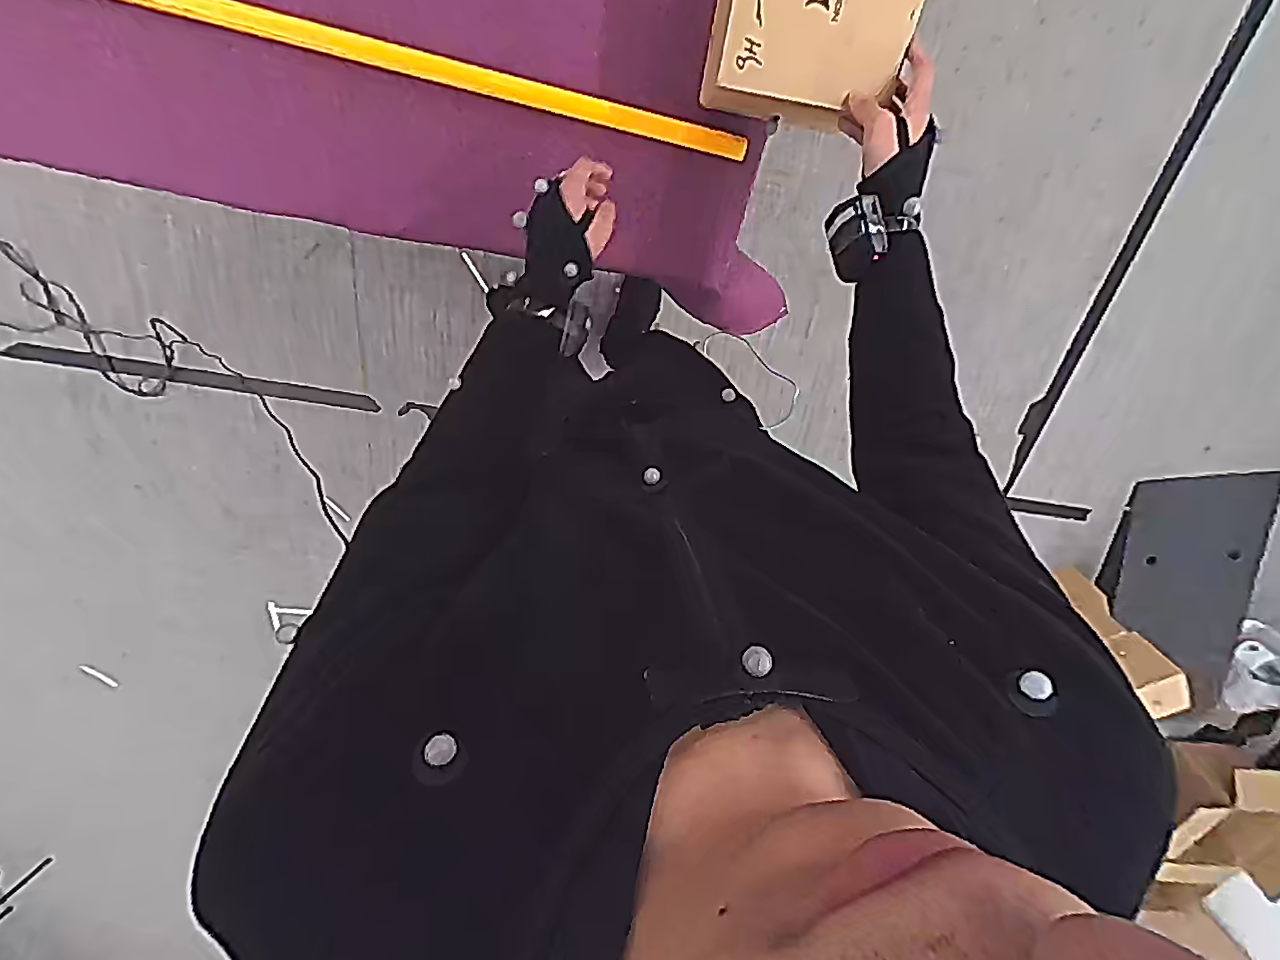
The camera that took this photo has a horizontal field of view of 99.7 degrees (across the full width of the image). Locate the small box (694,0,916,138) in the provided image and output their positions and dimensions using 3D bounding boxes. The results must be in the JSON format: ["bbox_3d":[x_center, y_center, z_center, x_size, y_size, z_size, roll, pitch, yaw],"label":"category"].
[{"bbox_3d":[0.166,-0.477,0.576,0.179,0.176,0.168,9,119,-6],"label":"small box"}]
